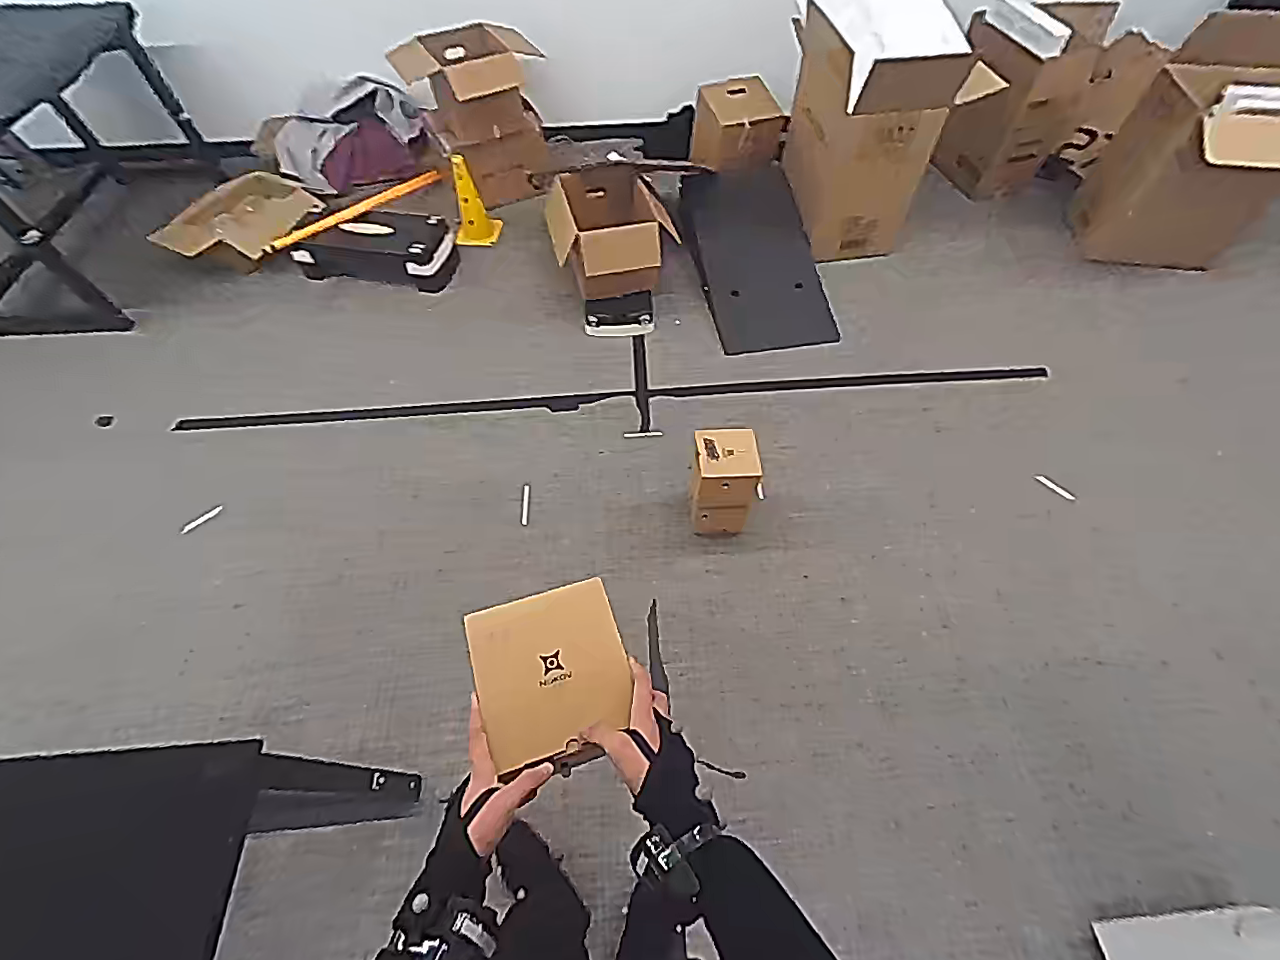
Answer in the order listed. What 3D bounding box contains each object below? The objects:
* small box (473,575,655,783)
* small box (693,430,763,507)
[{"bbox_3d":[-0.095,0.244,0.655,0.168,0.176,0.179,-14,60,-14],"label":"small box"},{"bbox_3d":[0.252,-0.030,1.598,0.179,0.176,0.168,-2,58,-2],"label":"small box"}]
